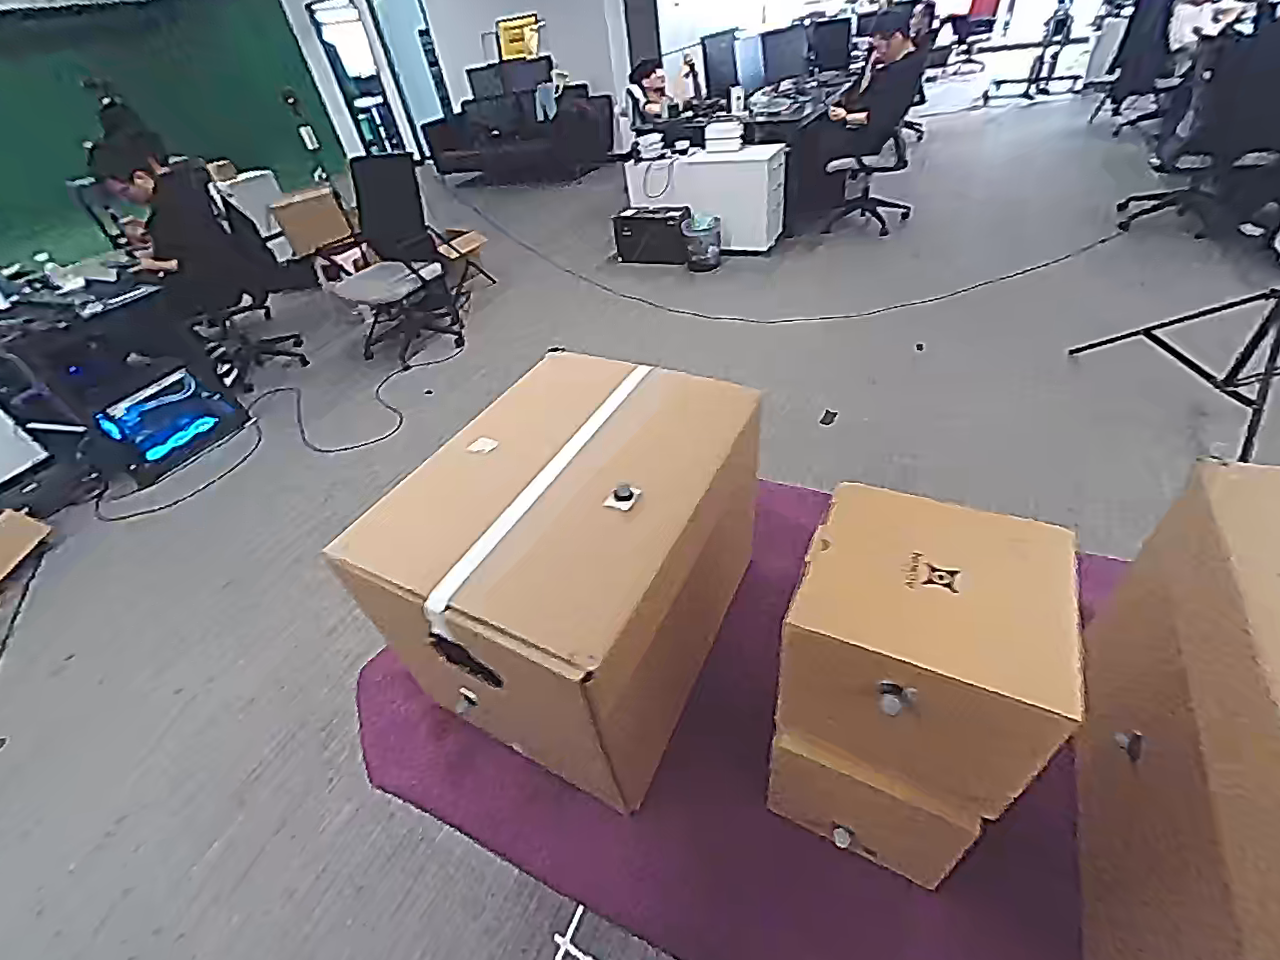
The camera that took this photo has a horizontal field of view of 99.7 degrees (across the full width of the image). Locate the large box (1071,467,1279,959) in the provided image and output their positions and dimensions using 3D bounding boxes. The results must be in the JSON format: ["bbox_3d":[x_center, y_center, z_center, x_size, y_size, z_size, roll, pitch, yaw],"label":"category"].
[{"bbox_3d":[0.555,0.252,0.390,0.320,0.320,0.408,14,45,25],"label":"large box"}]

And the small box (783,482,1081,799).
[{"bbox_3d":[0.229,0.131,0.451,0.179,0.176,0.168,13,45,27],"label":"small box"}]
